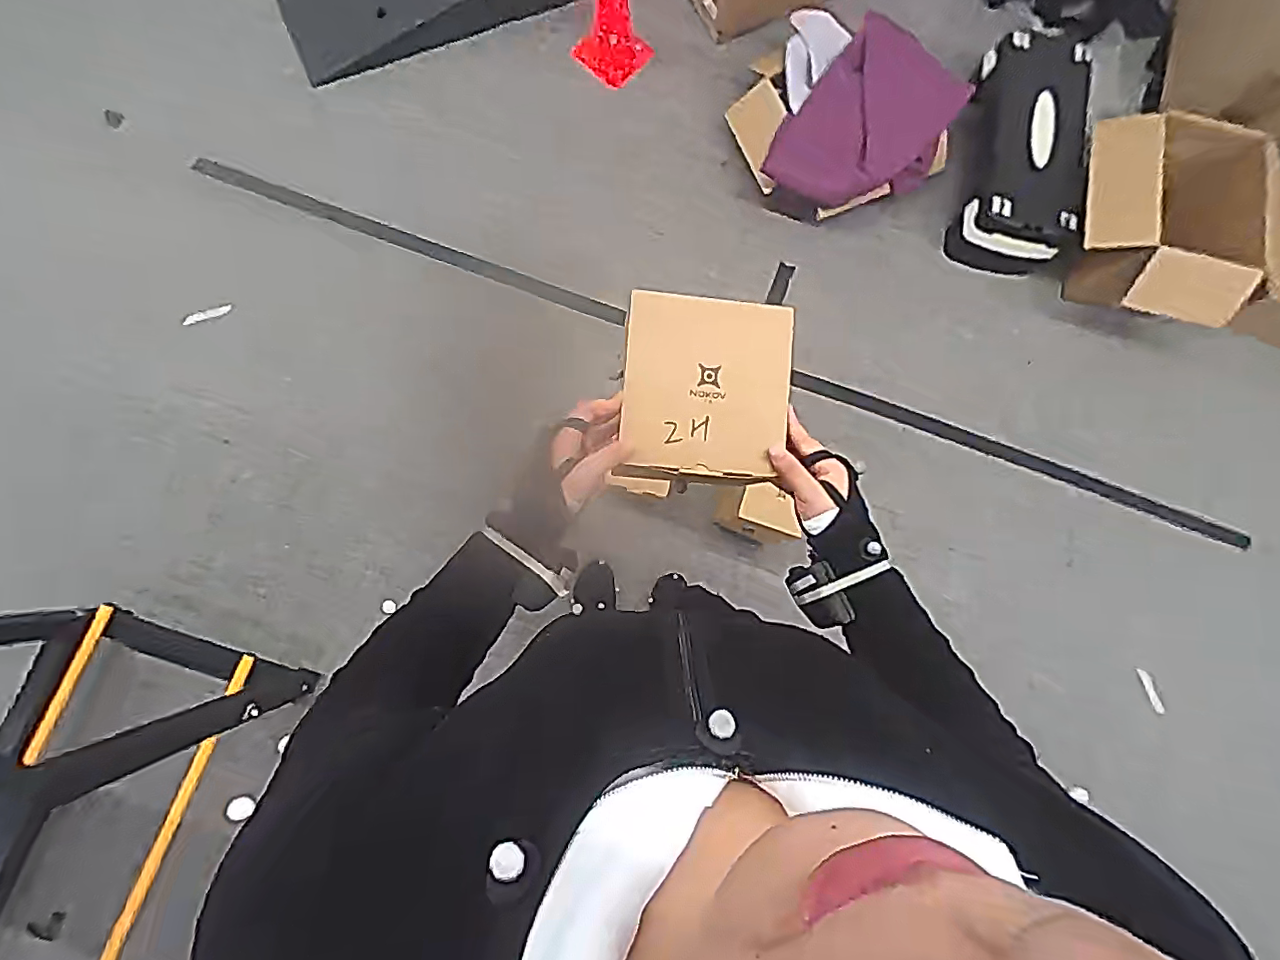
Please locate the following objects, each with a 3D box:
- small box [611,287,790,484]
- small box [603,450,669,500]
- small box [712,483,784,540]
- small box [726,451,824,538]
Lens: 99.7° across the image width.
[{"bbox_3d":[0.057,-0.092,0.609,0.168,0.176,0.179,4,87,-5],"label":"small box"},{"bbox_3d":[0.003,-0.049,1.468,0.168,0.176,0.179,14,82,-1],"label":"small box"},{"bbox_3d":[0.315,0.059,1.474,0.179,0.176,0.168,23,82,-1],"label":"small box"},{"bbox_3d":[0.320,0.033,1.313,0.168,0.176,0.179,18,83,0],"label":"small box"}]
